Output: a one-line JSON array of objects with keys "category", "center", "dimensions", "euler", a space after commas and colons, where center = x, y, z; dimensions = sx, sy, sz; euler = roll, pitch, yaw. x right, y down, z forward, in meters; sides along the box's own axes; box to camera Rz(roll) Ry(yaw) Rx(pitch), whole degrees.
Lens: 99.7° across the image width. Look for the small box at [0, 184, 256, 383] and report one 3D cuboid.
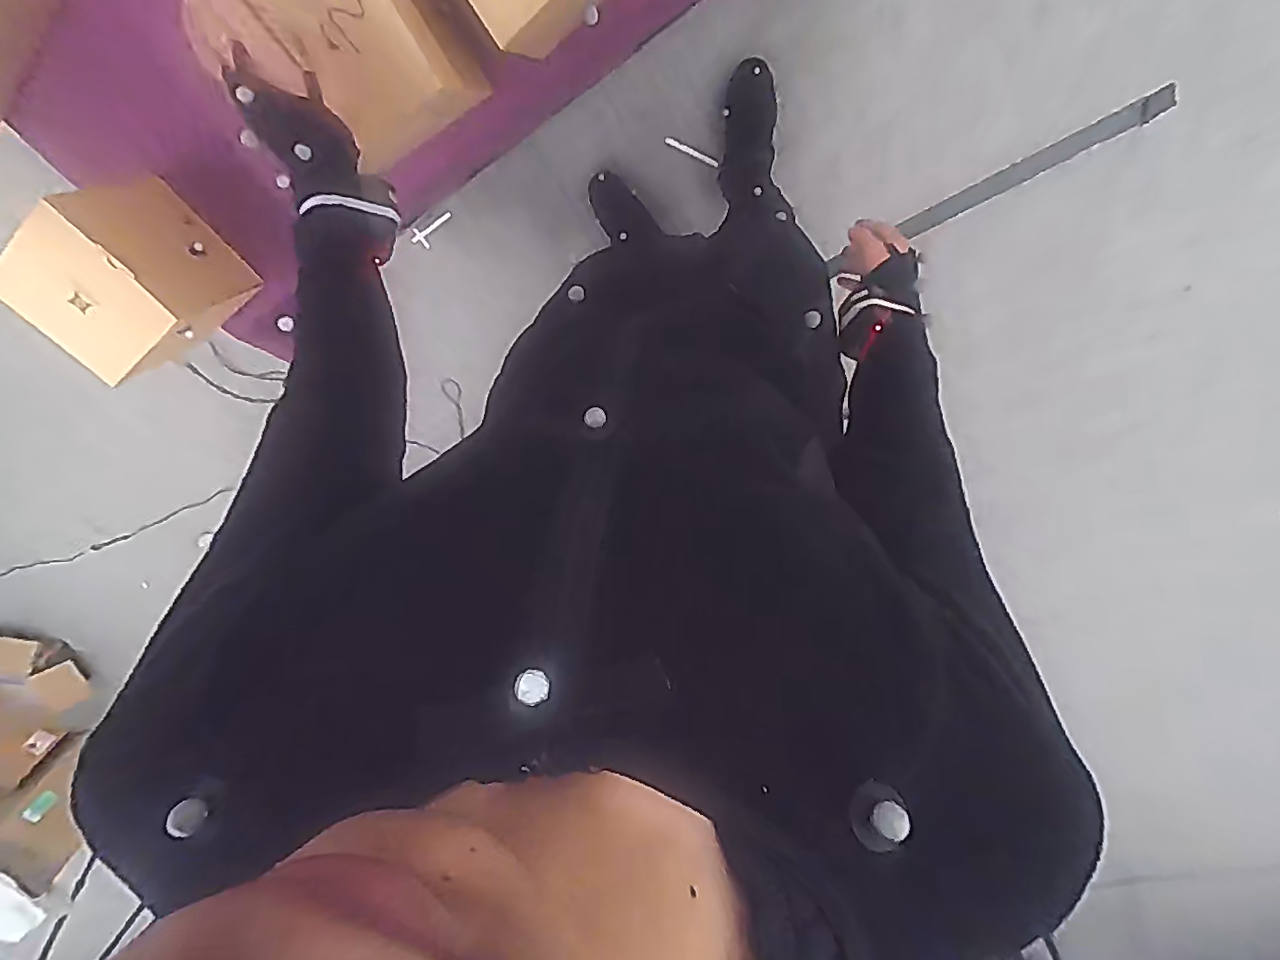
[{"category": "small box", "center": [-0.674, -0.266, 0.727], "dimensions": [0.179, 0.176, 0.168], "euler": [-28, 118, 21]}]
